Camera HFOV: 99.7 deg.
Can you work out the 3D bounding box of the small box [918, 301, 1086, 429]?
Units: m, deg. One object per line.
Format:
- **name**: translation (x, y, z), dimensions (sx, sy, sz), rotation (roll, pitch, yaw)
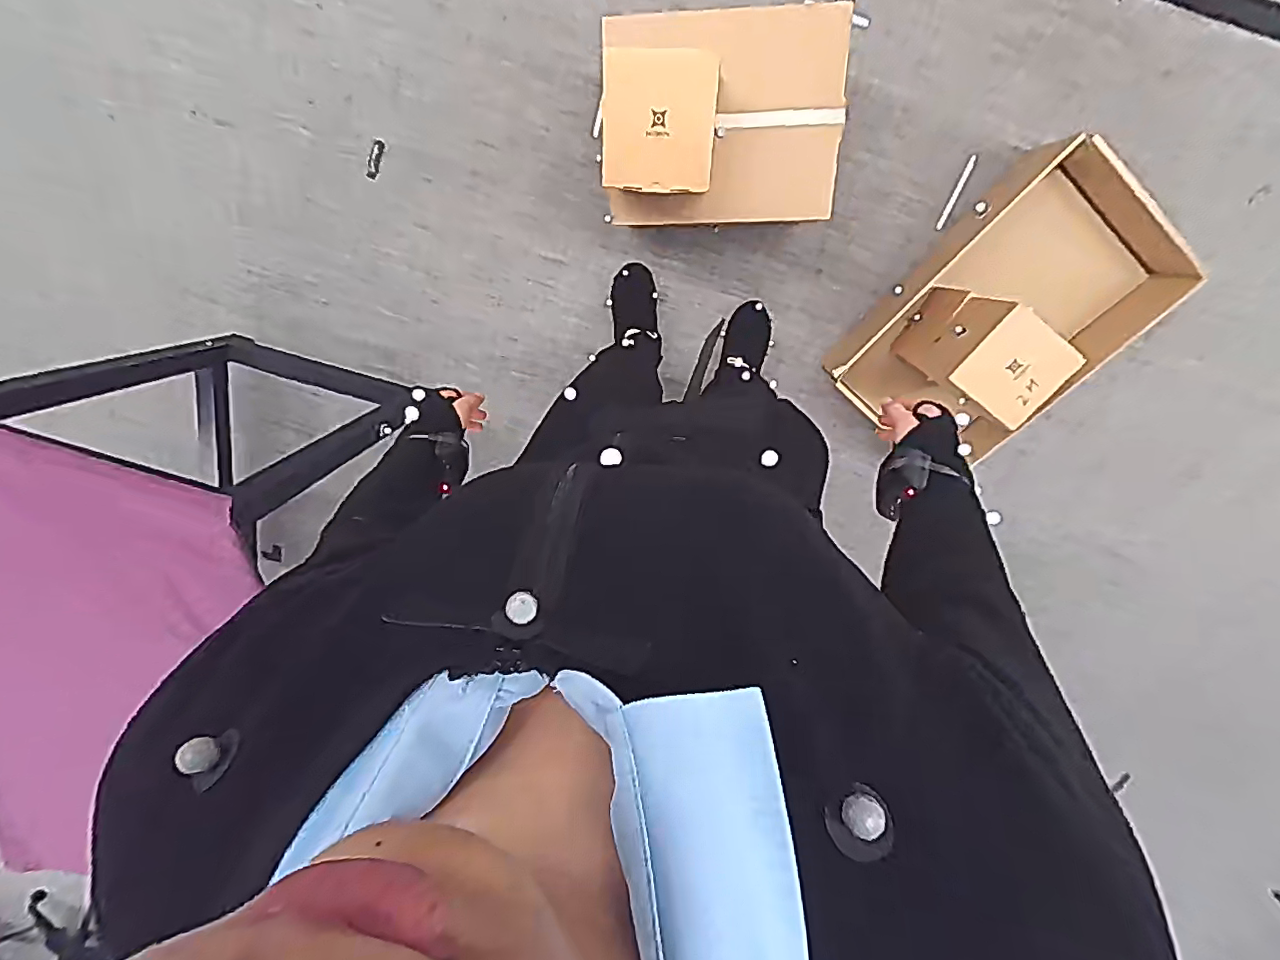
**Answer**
- **small box**: translation (0.681, -0.229, 1.044), dimensions (0.179, 0.176, 0.168), rotation (34, 111, -10)
